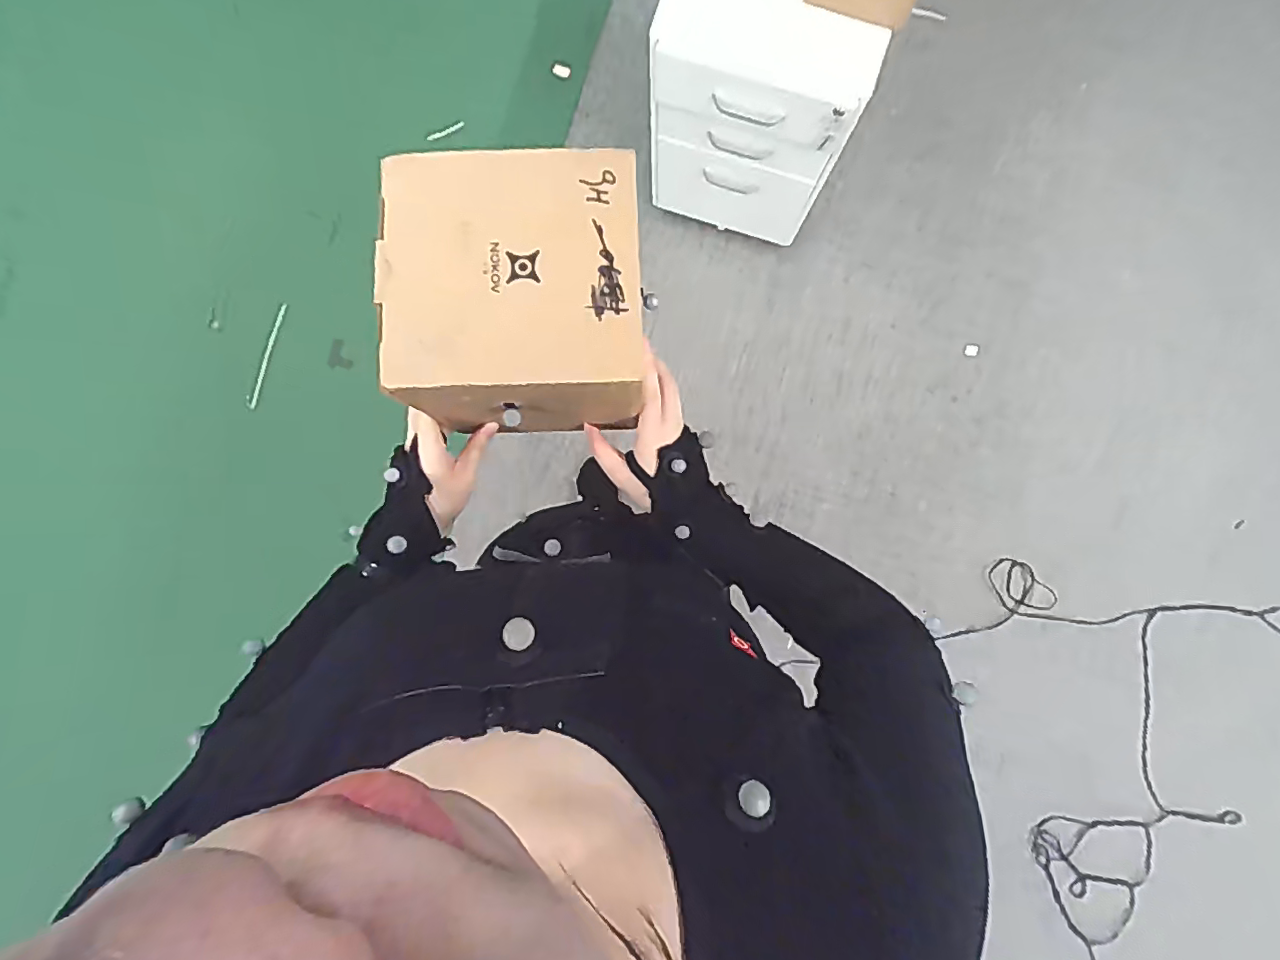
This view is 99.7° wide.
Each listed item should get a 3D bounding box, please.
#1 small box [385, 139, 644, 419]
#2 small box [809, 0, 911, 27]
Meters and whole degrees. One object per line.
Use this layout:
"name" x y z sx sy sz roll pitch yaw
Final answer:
"small box" -0.085 -0.146 0.447 0.179 0.176 0.168 -1 85 -1
"small box" 0.378 -0.866 0.843 0.179 0.176 0.168 20 89 2
